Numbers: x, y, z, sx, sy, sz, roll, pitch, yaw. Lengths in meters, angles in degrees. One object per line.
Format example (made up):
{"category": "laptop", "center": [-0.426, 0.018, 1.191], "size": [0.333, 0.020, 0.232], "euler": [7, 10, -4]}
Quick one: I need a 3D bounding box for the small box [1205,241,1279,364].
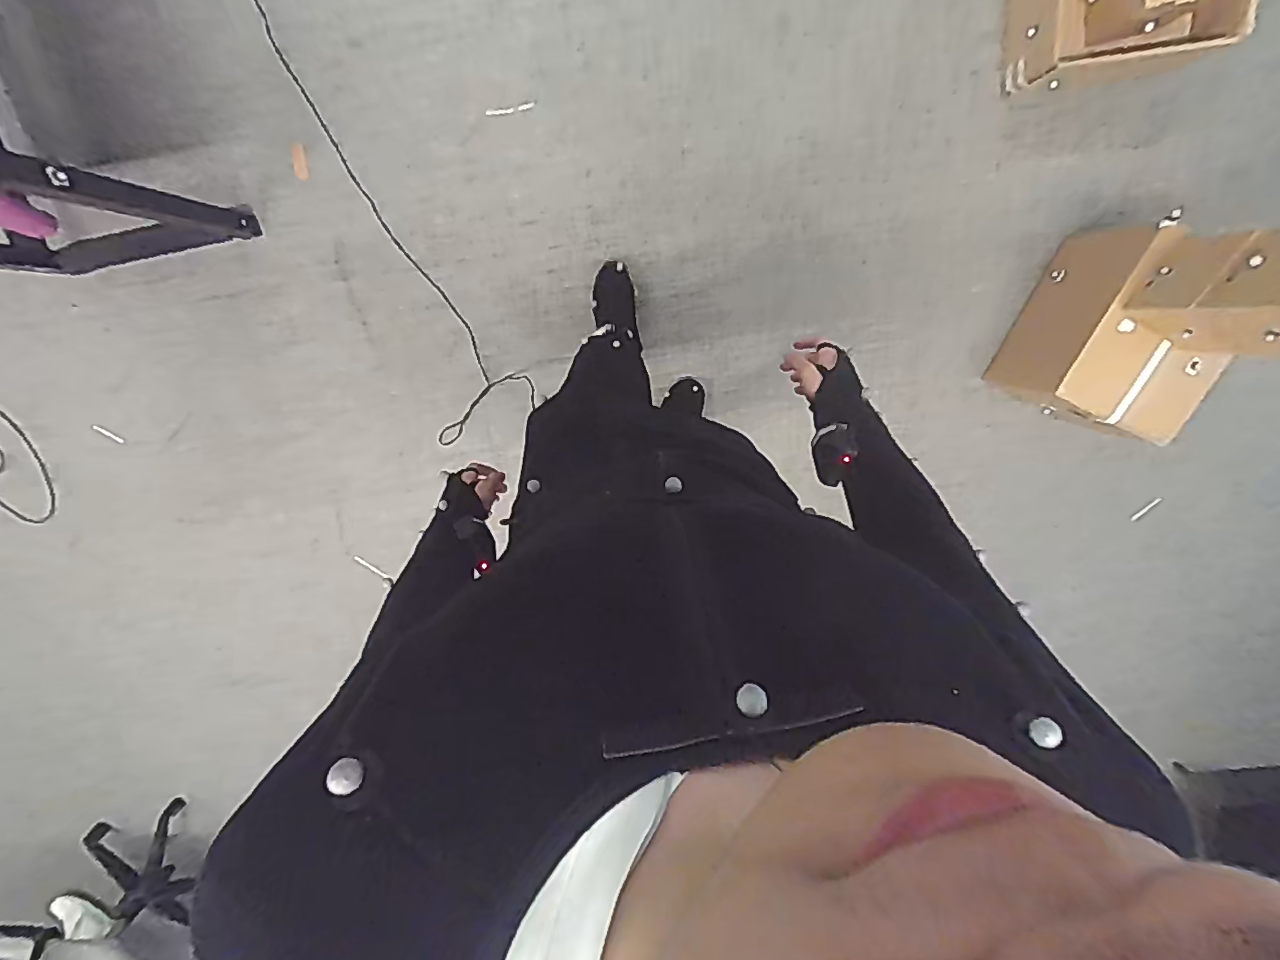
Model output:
{"category": "small box", "center": [1.156, -0.304, 0.917], "size": [0.179, 0.176, 0.168], "euler": [33, 105, -5]}

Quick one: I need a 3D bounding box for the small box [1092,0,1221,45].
{"category": "small box", "center": [1.100, -1.063, 1.141], "size": [0.168, 0.176, 0.179], "euler": [-10, 106, 6]}
